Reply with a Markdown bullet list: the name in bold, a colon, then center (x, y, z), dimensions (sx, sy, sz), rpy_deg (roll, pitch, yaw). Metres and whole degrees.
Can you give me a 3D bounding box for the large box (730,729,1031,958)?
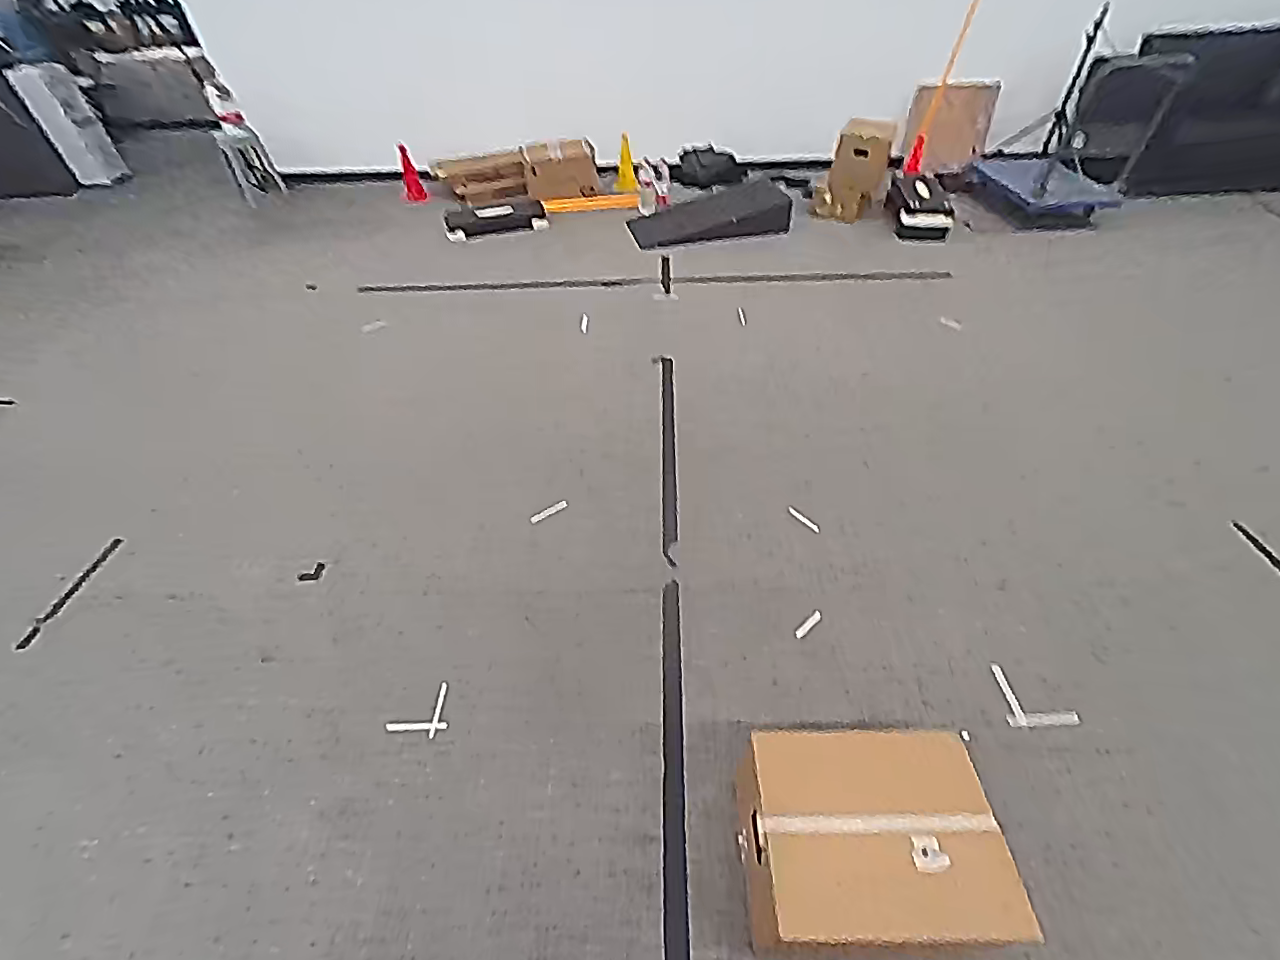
- **large box**: center (0.408, 0.700, 1.045), dimensions (0.408, 0.320, 0.320), rpy_deg (0, 45, 0)
